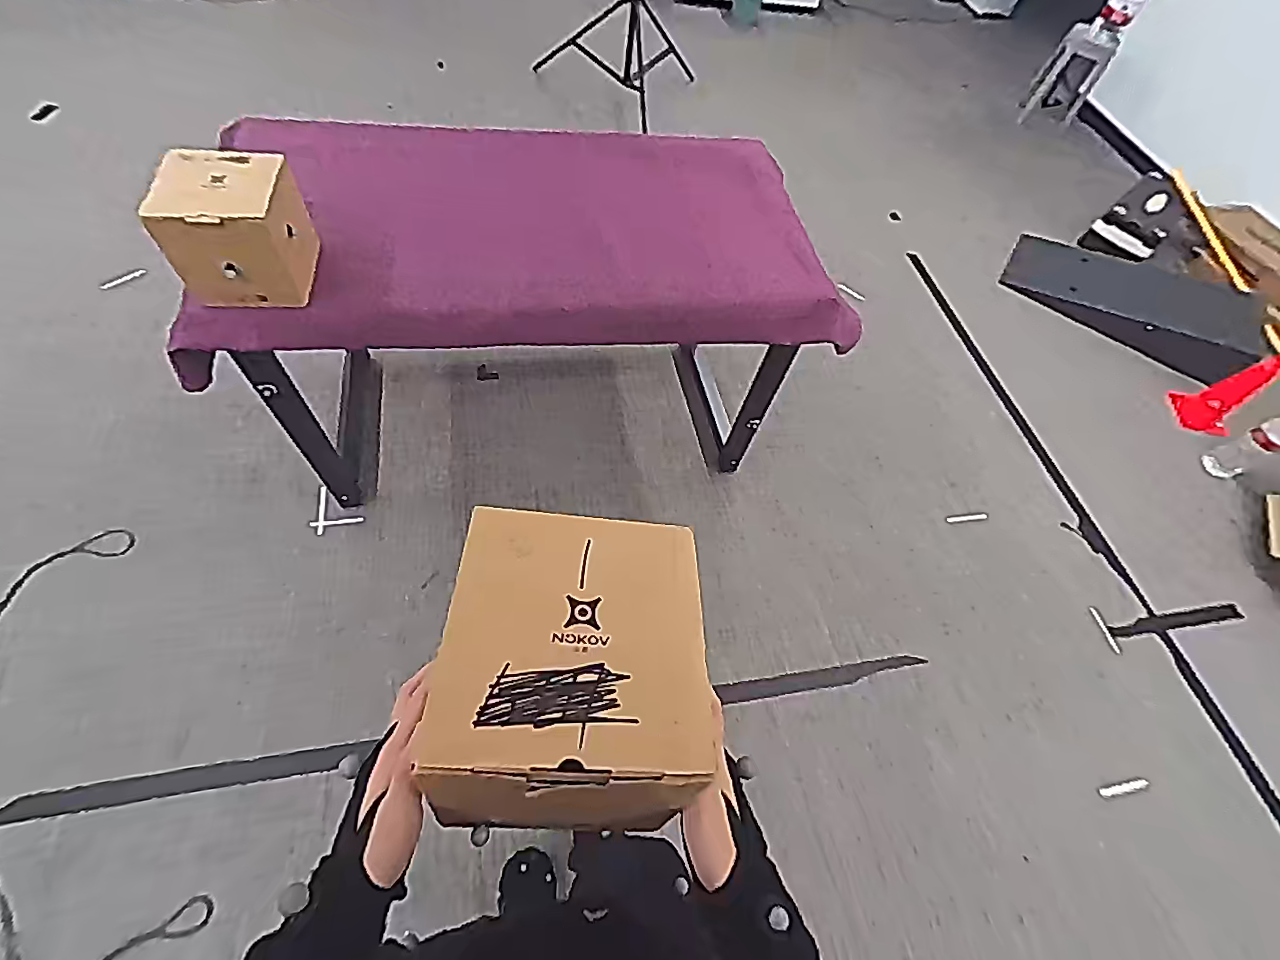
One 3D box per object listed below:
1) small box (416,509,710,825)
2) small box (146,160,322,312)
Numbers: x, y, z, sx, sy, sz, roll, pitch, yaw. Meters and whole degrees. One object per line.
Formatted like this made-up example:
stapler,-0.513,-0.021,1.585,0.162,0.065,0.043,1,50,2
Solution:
small box,-0.053,0.147,0.410,0.168,0.176,0.179,6,47,-8
small box,-0.656,-0.399,0.901,0.168,0.176,0.179,-4,60,-11
